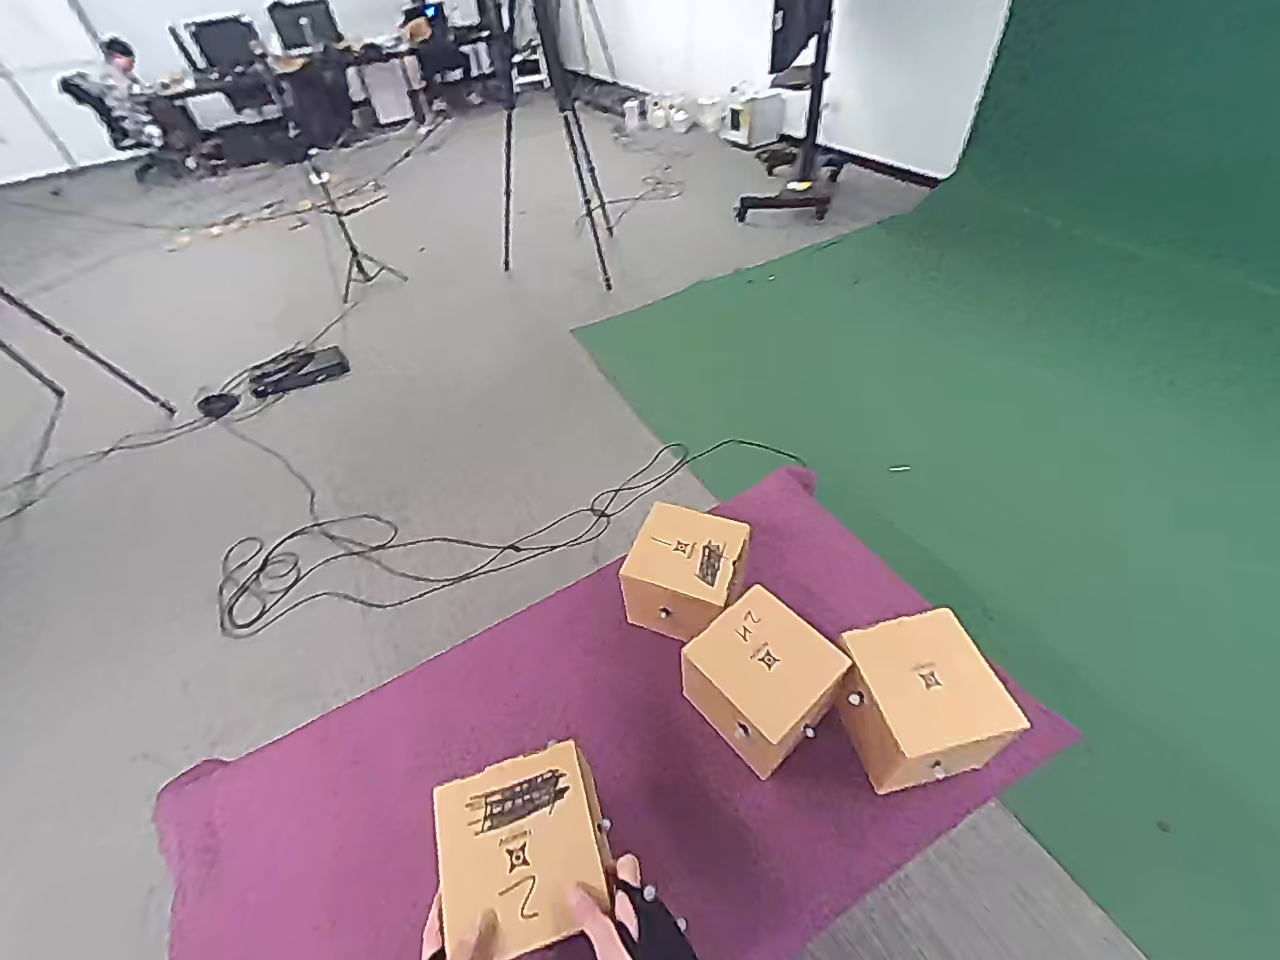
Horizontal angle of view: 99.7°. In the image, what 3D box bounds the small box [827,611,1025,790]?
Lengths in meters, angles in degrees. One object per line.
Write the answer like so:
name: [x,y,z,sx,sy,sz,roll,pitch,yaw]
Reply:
small box: [0.387,0.319,0.771,0.168,0.176,0.179,-12,45,-4]
